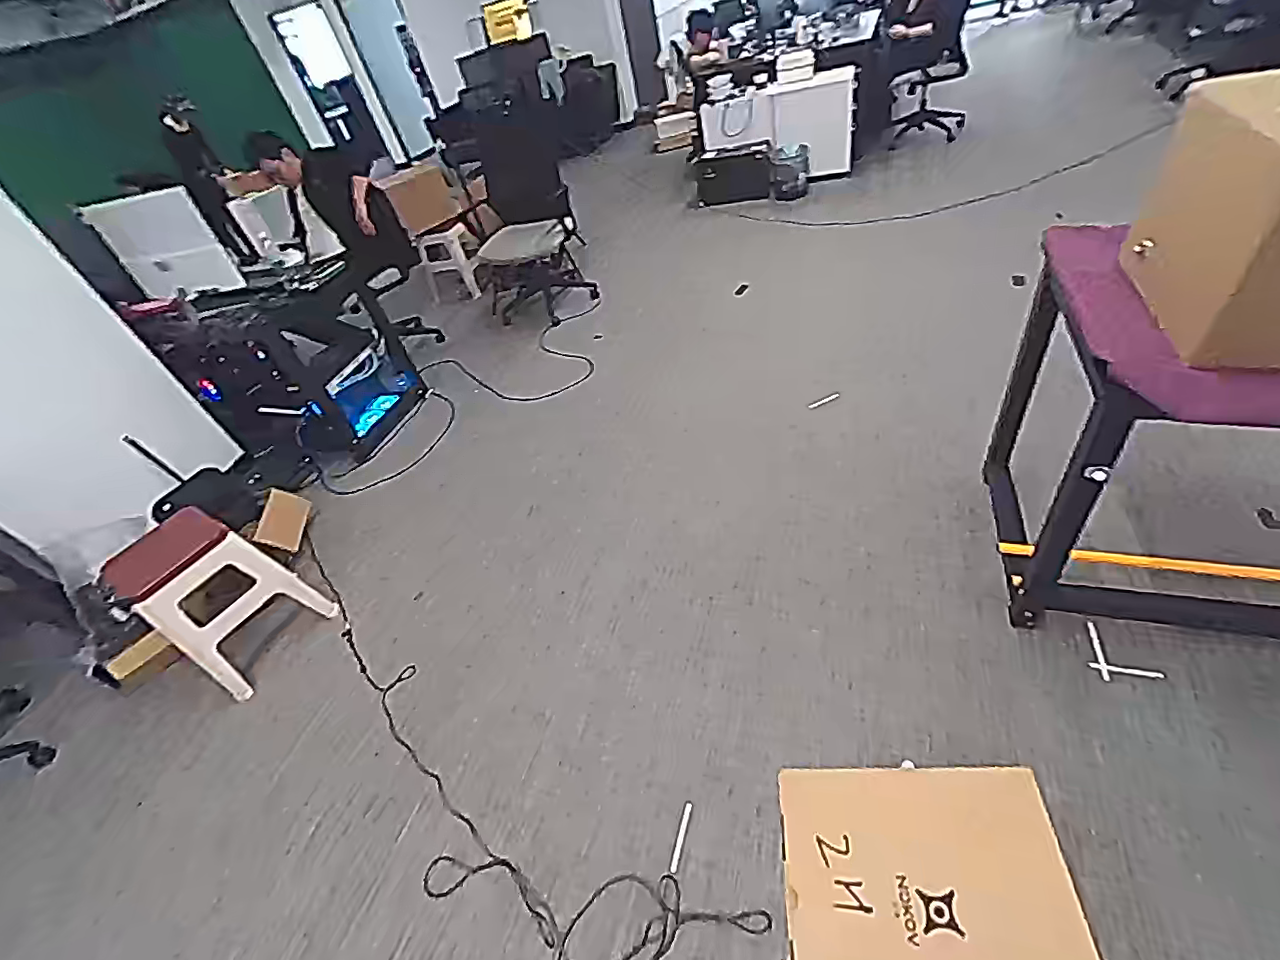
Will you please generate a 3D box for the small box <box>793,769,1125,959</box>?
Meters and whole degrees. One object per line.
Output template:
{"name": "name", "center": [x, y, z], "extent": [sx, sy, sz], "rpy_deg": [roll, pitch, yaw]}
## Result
{"name": "small box", "center": [0.216, 0.320, 0.386], "extent": [0.179, 0.176, 0.168], "rpy_deg": [-10, 45, 20]}
